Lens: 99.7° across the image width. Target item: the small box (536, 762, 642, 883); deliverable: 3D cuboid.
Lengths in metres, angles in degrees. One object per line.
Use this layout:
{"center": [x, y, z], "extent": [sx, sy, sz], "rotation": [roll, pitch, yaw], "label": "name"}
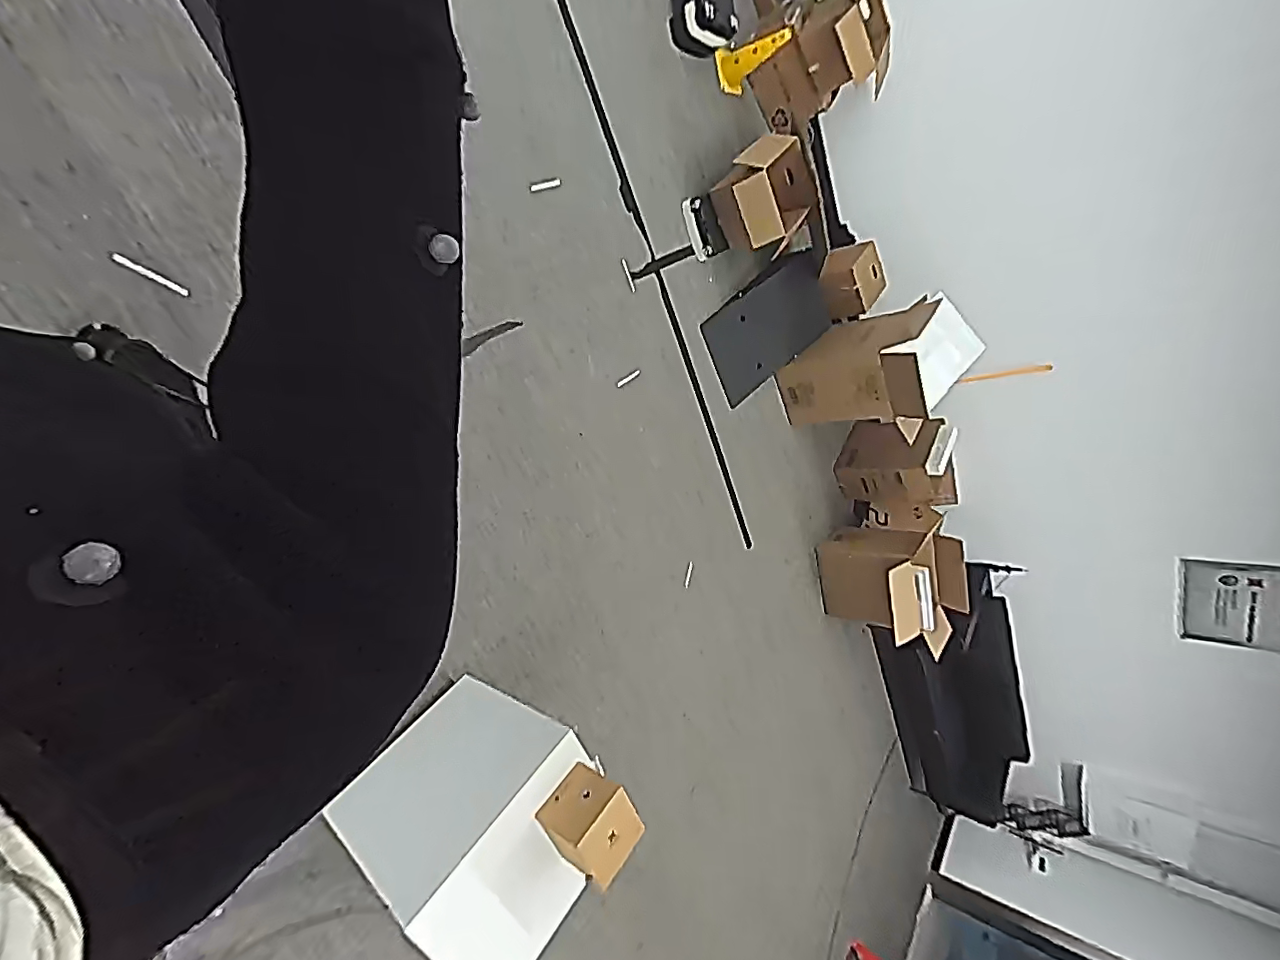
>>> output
{"center": [-0.129, 0.840, 1.348], "extent": [0.168, 0.176, 0.179], "rotation": [-41, 120, -37], "label": "small box"}
